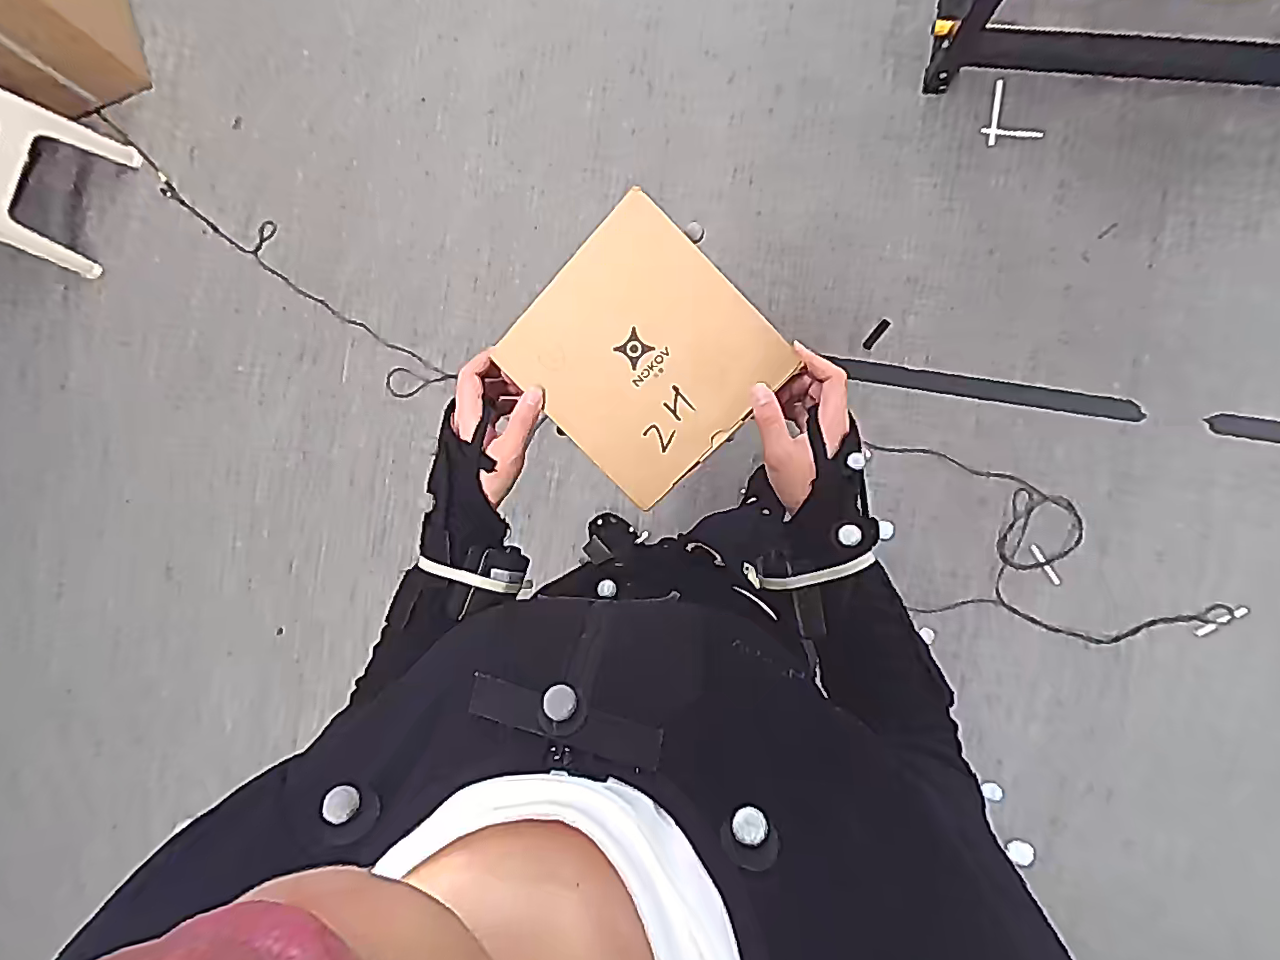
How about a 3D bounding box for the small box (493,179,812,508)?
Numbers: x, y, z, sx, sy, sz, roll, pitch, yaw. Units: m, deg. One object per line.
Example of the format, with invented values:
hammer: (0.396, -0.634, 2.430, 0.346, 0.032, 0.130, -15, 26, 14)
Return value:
small box: (0.015, -0.107, 0.466, 0.168, 0.176, 0.179, -43, 94, 15)
